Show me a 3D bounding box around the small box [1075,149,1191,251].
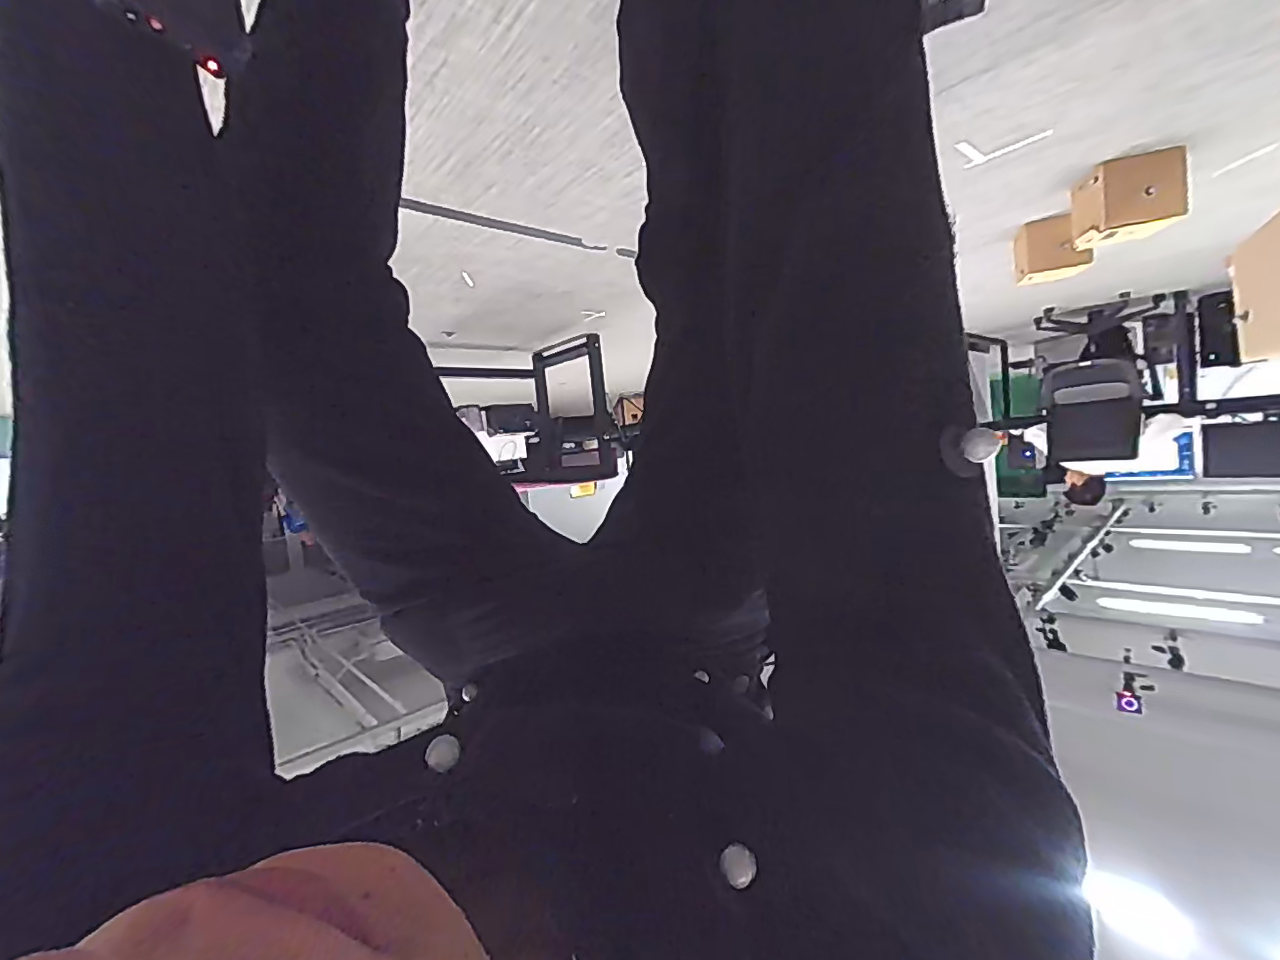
[{"bbox_3d":[1.280,-0.730,1.419,0.179,0.176,0.168,-5,-177,16],"label":"small box"}]

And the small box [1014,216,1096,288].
[{"bbox_3d":[1.376,-0.760,1.802,0.179,0.176,0.168,-6,-177,23],"label":"small box"}]
